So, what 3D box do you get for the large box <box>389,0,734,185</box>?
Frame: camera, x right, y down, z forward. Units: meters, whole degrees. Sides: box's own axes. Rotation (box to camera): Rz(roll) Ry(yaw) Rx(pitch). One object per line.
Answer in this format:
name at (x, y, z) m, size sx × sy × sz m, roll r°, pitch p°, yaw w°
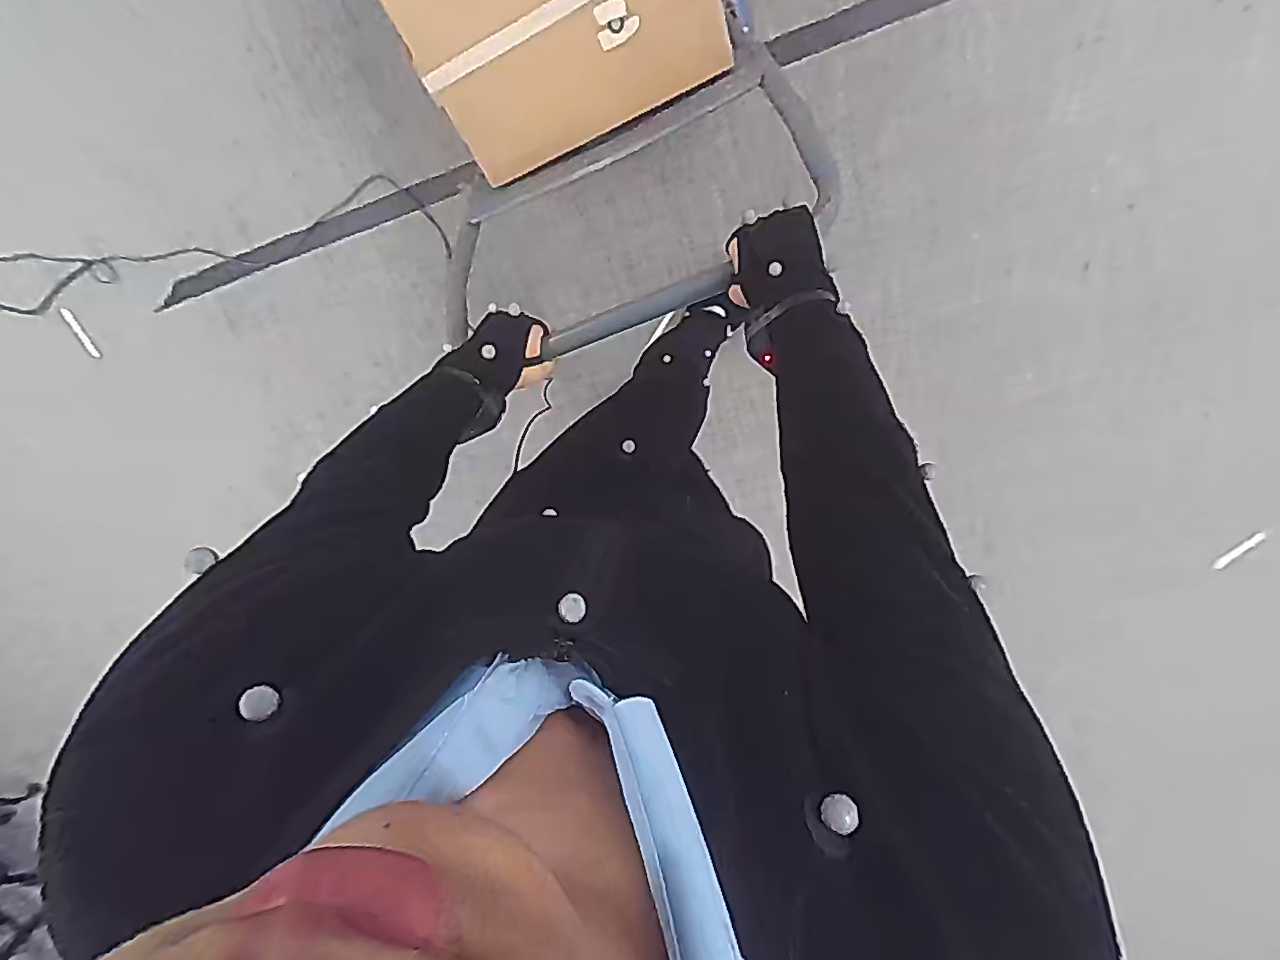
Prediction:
large box at (-0.117, -0.737, 0.820) m, size 0.408 × 0.320 × 0.320 m, roll -20°, pitch 136°, yaw 15°
